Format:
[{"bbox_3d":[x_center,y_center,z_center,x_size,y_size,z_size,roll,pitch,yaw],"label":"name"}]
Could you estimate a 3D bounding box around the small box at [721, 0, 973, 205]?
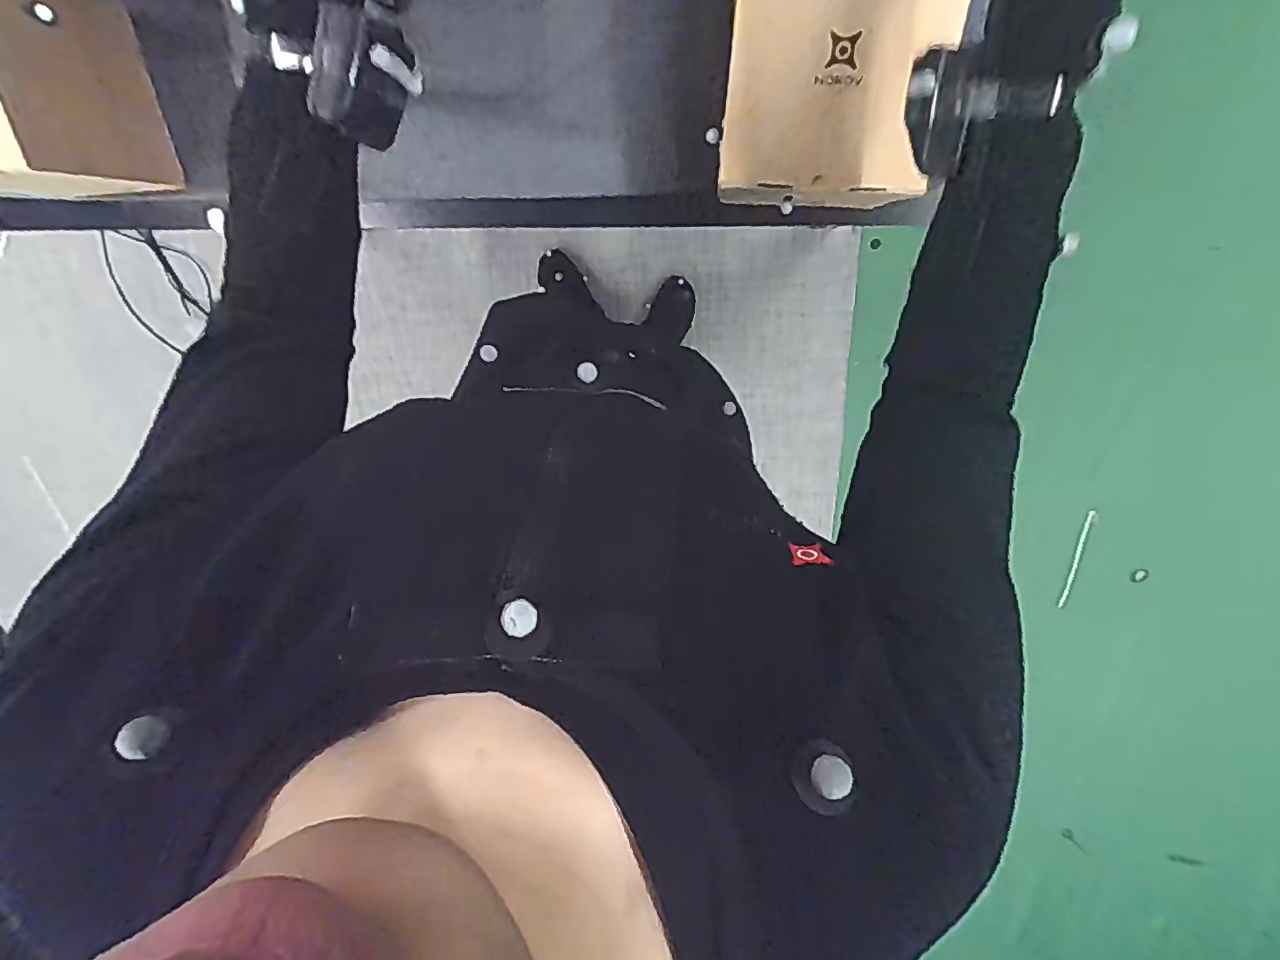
[{"bbox_3d":[0.163,-0.348,0.478,0.168,0.176,0.179,5,115,5],"label":"small box"}]
